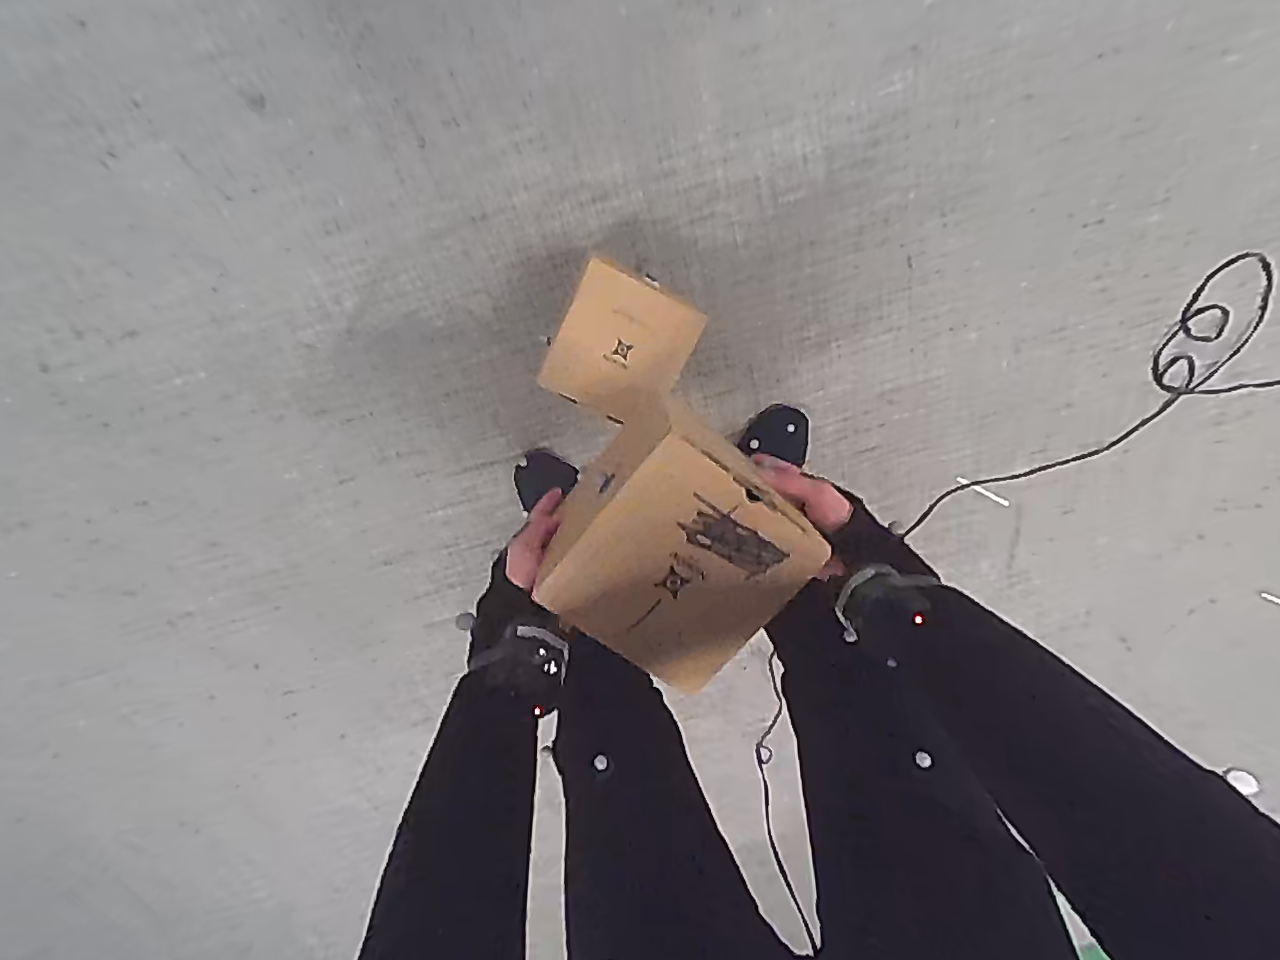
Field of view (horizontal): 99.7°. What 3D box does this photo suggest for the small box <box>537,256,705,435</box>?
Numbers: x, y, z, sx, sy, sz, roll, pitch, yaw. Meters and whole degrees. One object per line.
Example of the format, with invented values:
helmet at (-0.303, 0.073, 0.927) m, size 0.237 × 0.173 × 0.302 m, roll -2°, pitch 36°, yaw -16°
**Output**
small box at (-0.032, -0.196, 0.768) m, size 0.168 × 0.176 × 0.179 m, roll 22°, pitch 112°, yaw -17°
